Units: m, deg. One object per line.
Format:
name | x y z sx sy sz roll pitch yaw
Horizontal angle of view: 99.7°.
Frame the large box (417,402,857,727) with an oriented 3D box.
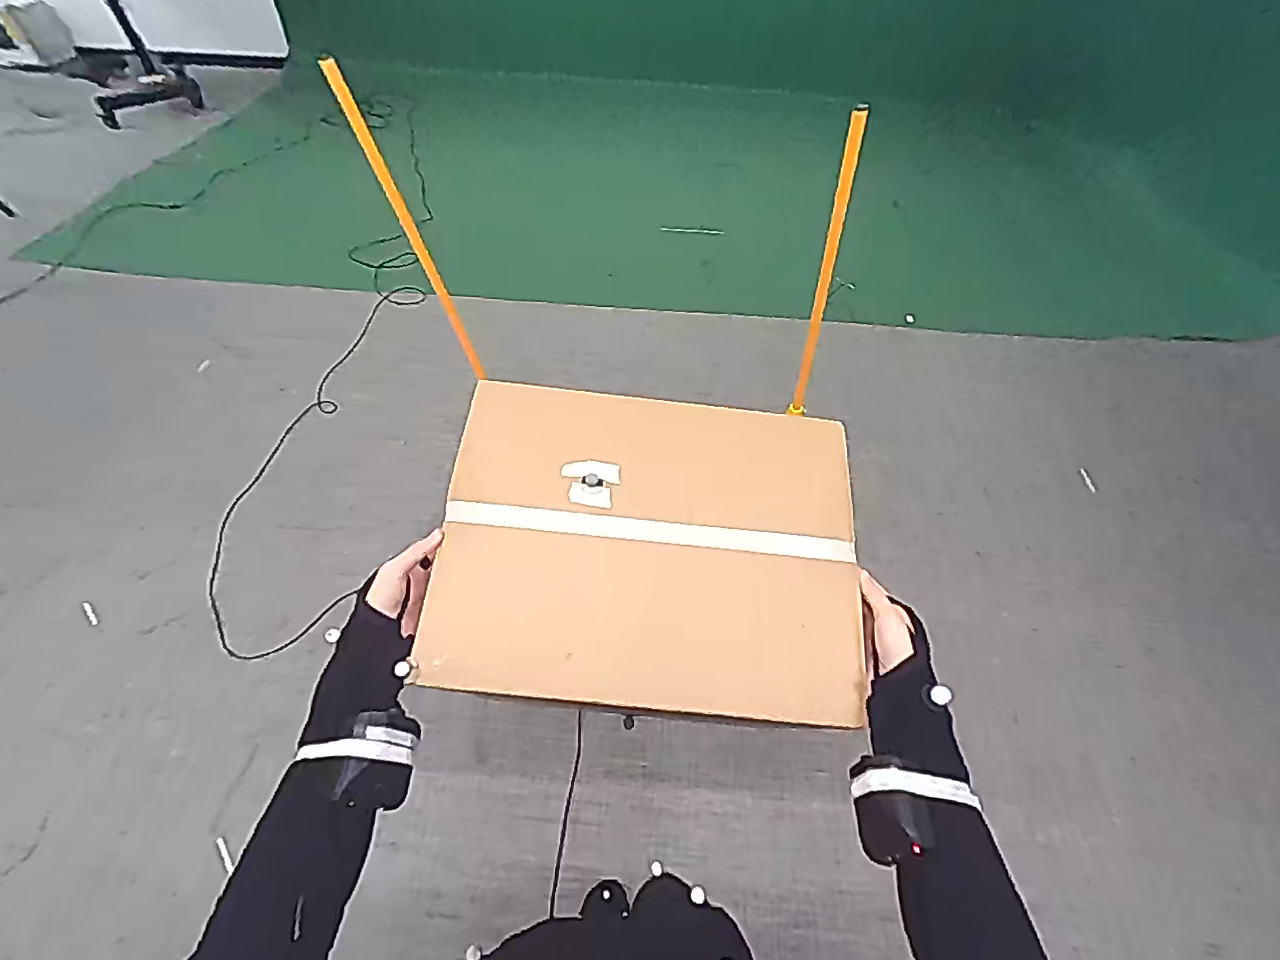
large box | 0.003 0.127 0.679 0.408 0.320 0.320 6 64 -1
